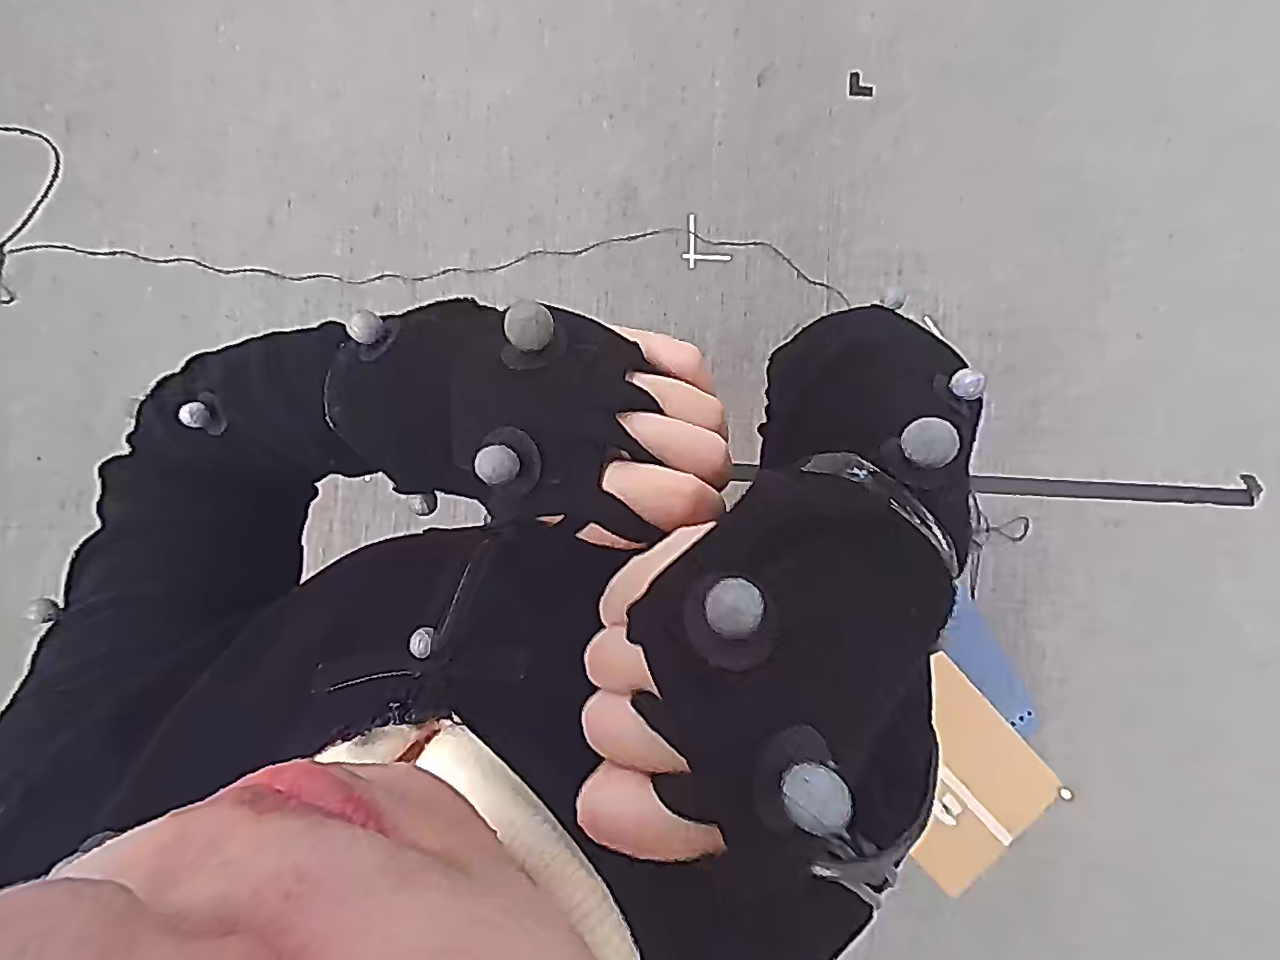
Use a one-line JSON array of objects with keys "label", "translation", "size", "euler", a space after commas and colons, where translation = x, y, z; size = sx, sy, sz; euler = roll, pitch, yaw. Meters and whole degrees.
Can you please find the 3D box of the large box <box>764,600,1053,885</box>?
[{"label": "large box", "translation": [0.549, 0.533, 1.184], "size": [0.320, 0.320, 0.408], "euler": [-42, 92, -1]}]
